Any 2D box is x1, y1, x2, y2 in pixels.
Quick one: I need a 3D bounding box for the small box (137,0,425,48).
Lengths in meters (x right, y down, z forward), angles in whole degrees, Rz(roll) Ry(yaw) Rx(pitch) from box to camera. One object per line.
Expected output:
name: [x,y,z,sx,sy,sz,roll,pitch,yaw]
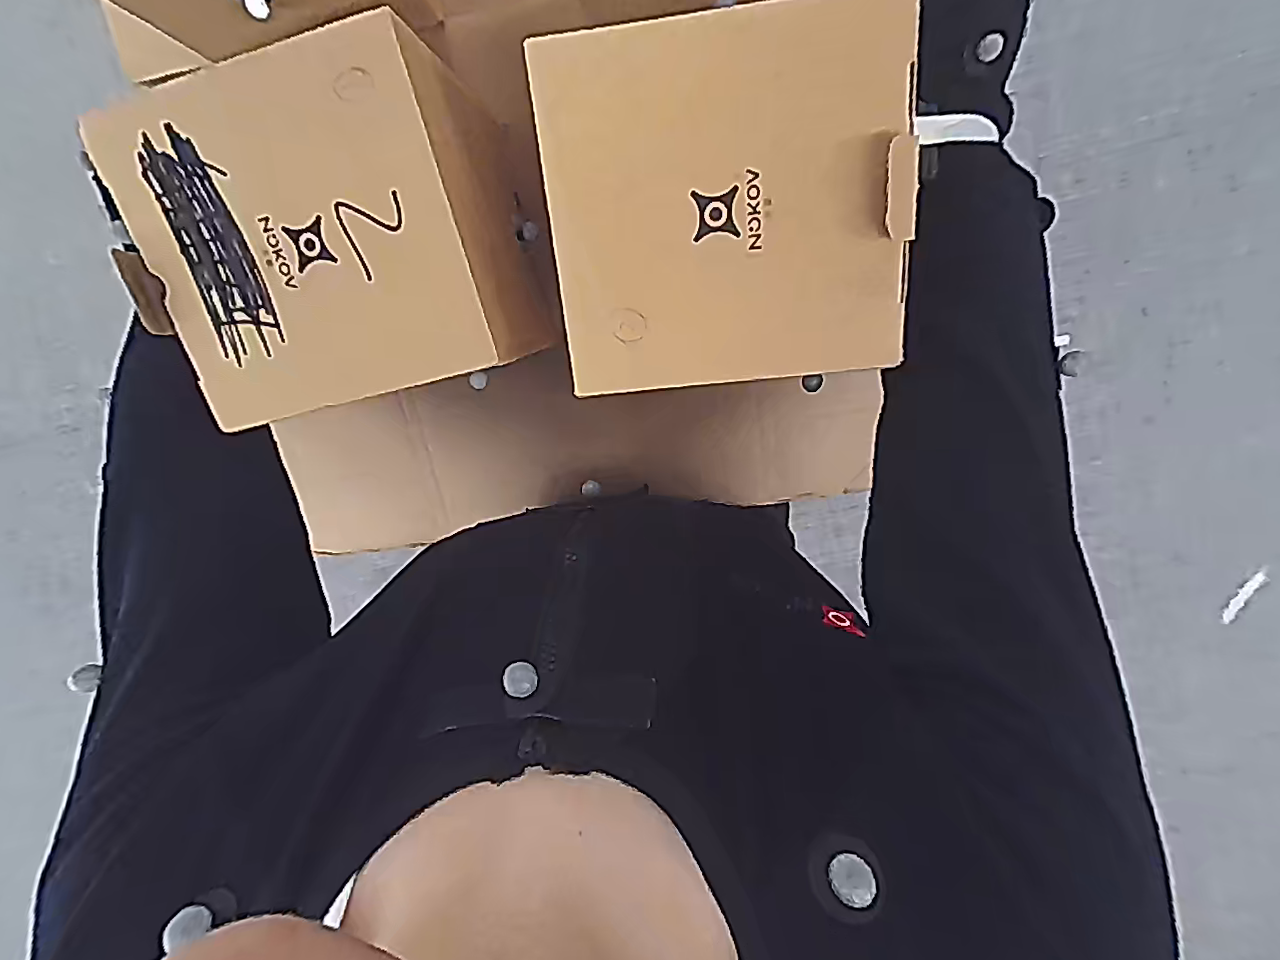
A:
small box: [-0.245,-0.381,0.298,0.168,0.176,0.179,-9,104,7]
